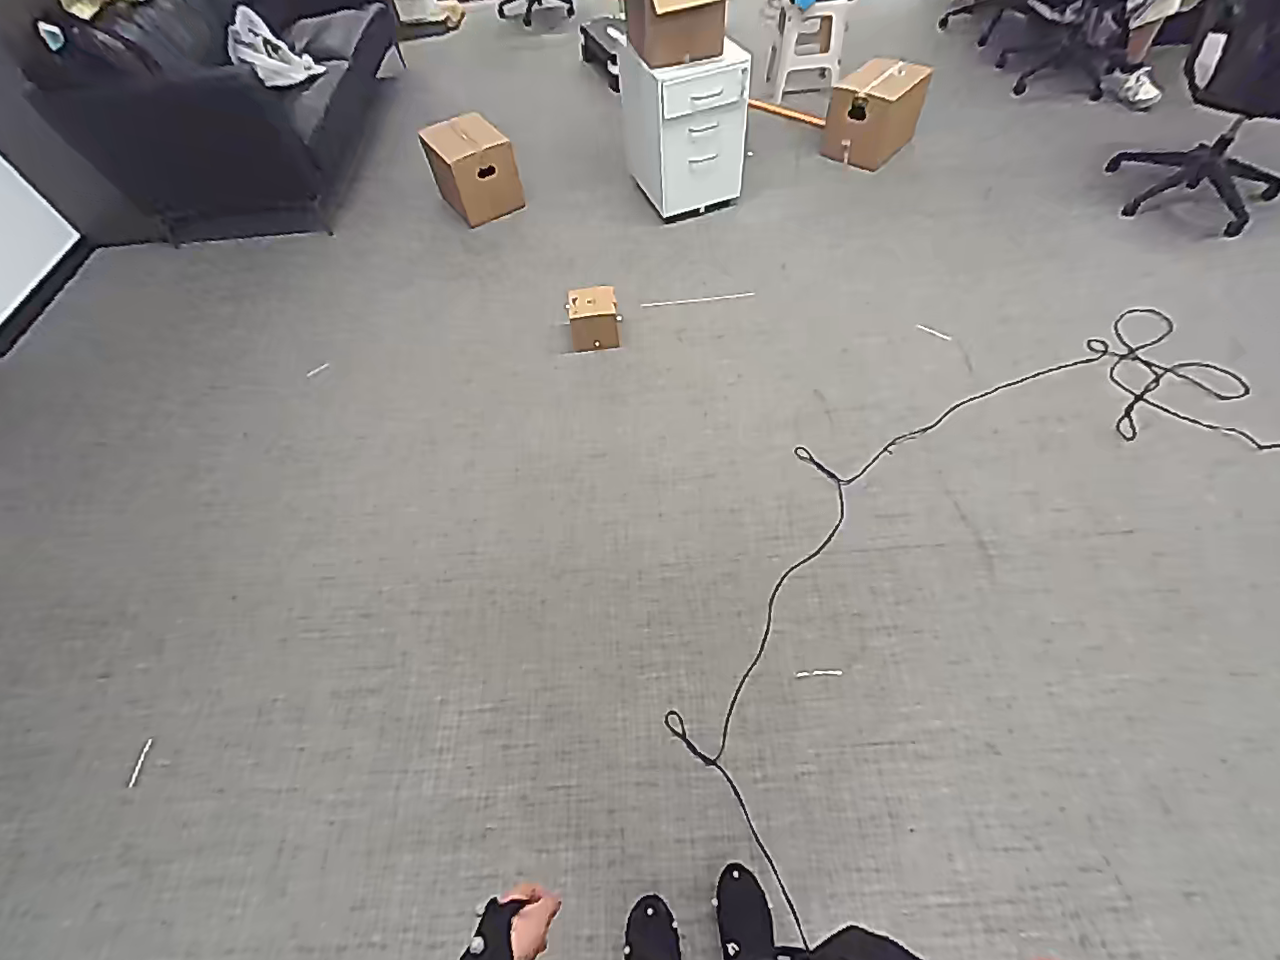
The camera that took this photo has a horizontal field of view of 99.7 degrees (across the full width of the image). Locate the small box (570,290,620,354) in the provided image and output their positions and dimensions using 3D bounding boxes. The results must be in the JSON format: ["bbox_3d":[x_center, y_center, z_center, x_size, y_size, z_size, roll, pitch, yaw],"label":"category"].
[{"bbox_3d":[-0.173,-0.615,2.111,0.179,0.176,0.168,-6,55,1],"label":"small box"}]
